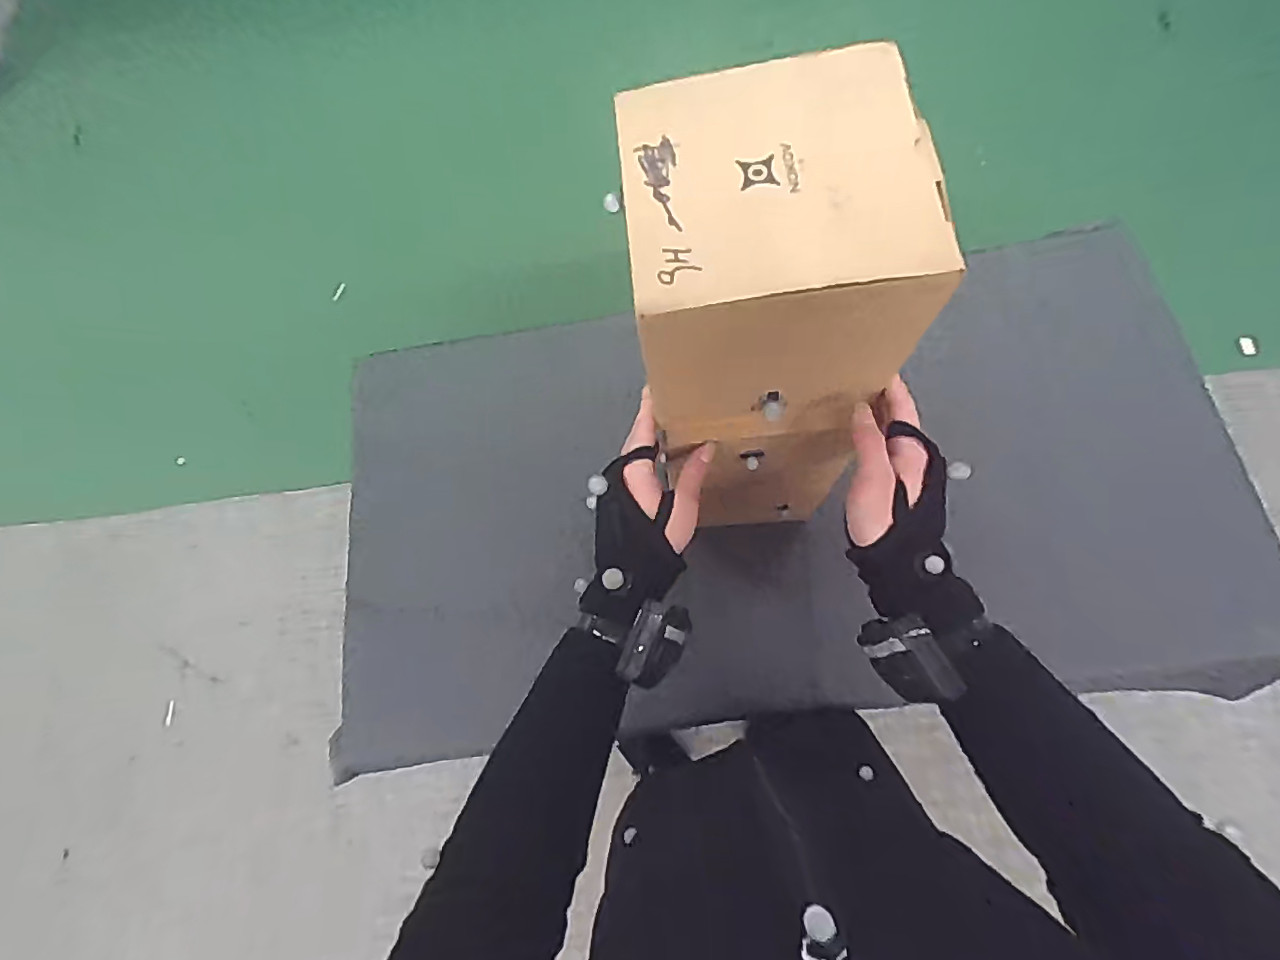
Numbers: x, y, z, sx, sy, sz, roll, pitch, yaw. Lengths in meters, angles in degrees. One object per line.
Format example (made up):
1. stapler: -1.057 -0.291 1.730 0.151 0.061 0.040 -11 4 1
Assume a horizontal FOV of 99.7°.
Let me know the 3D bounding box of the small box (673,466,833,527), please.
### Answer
1. small box: 0.129 -0.042 0.689 0.179 0.176 0.168 -6 71 6

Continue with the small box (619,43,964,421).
1. small box: 0.084 -0.154 0.384 0.179 0.176 0.168 -6 72 4

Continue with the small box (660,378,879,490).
1. small box: 0.108 -0.094 0.534 0.179 0.176 0.168 -5 72 4
